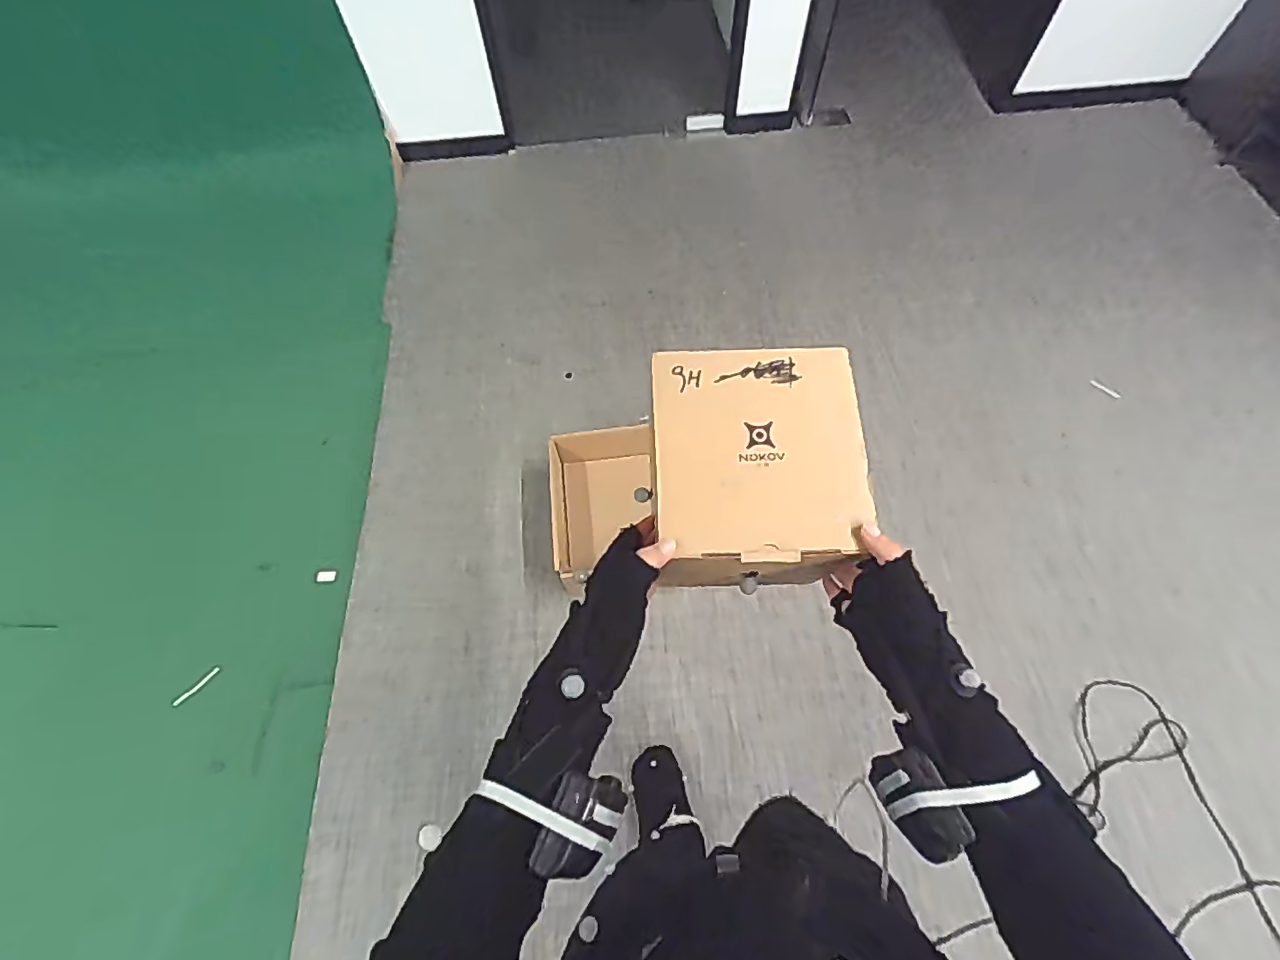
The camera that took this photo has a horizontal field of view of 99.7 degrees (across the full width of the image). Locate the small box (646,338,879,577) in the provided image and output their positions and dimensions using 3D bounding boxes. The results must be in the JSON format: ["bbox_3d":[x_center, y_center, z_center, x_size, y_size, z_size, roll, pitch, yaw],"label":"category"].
[{"bbox_3d":[0.094,-0.007,0.502,0.168,0.176,0.179,-4,72,0],"label":"small box"}]
